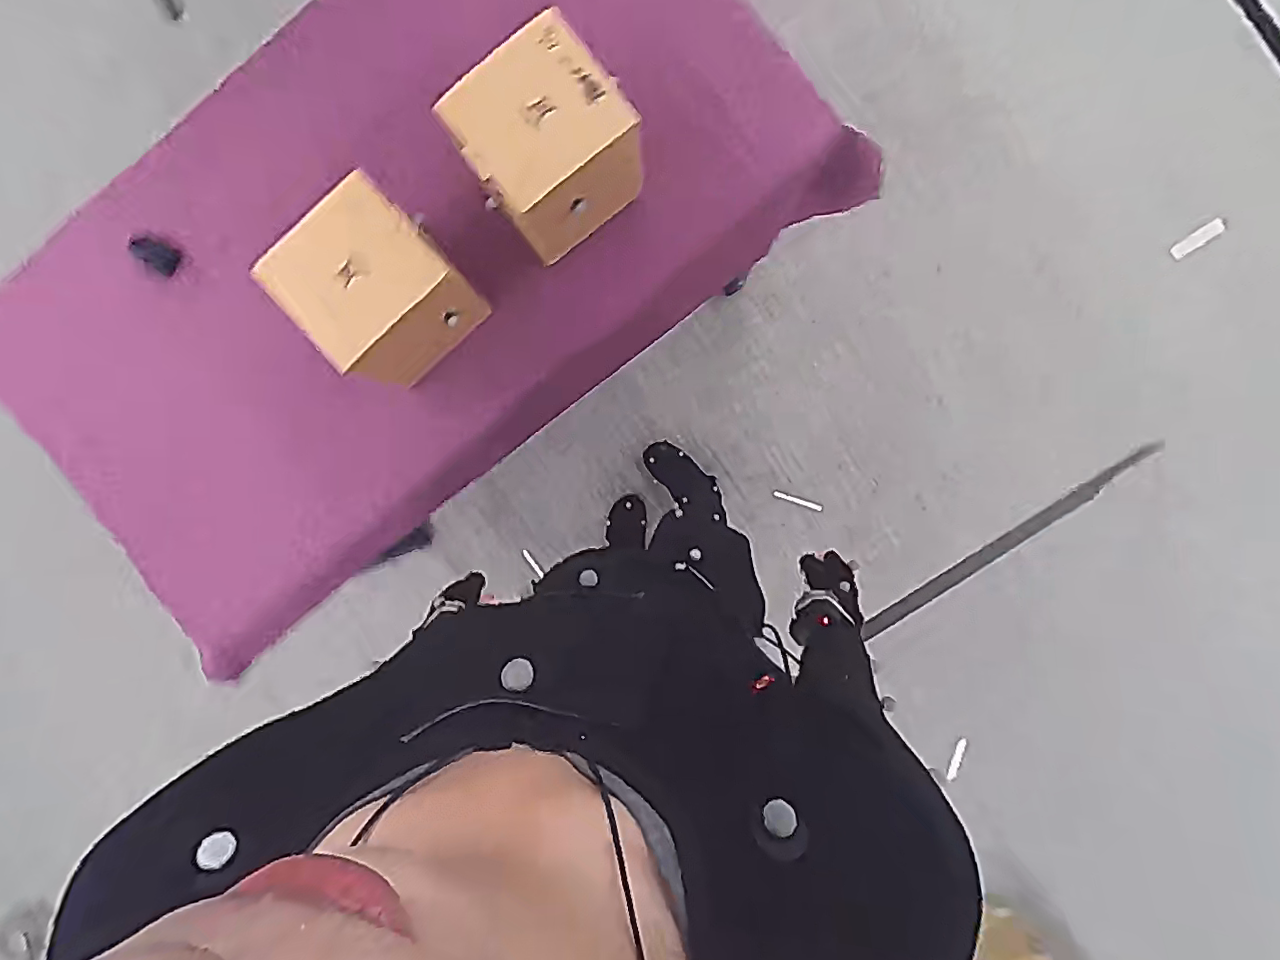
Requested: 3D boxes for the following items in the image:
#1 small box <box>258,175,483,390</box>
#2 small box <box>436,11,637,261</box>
[{"bbox_3d":[-0.332,-0.242,0.711,0.179,0.176,0.168,-43,89,3],"label":"small box"},{"bbox_3d":[-0.118,-0.421,0.698,0.179,0.176,0.168,-38,90,3],"label":"small box"}]
